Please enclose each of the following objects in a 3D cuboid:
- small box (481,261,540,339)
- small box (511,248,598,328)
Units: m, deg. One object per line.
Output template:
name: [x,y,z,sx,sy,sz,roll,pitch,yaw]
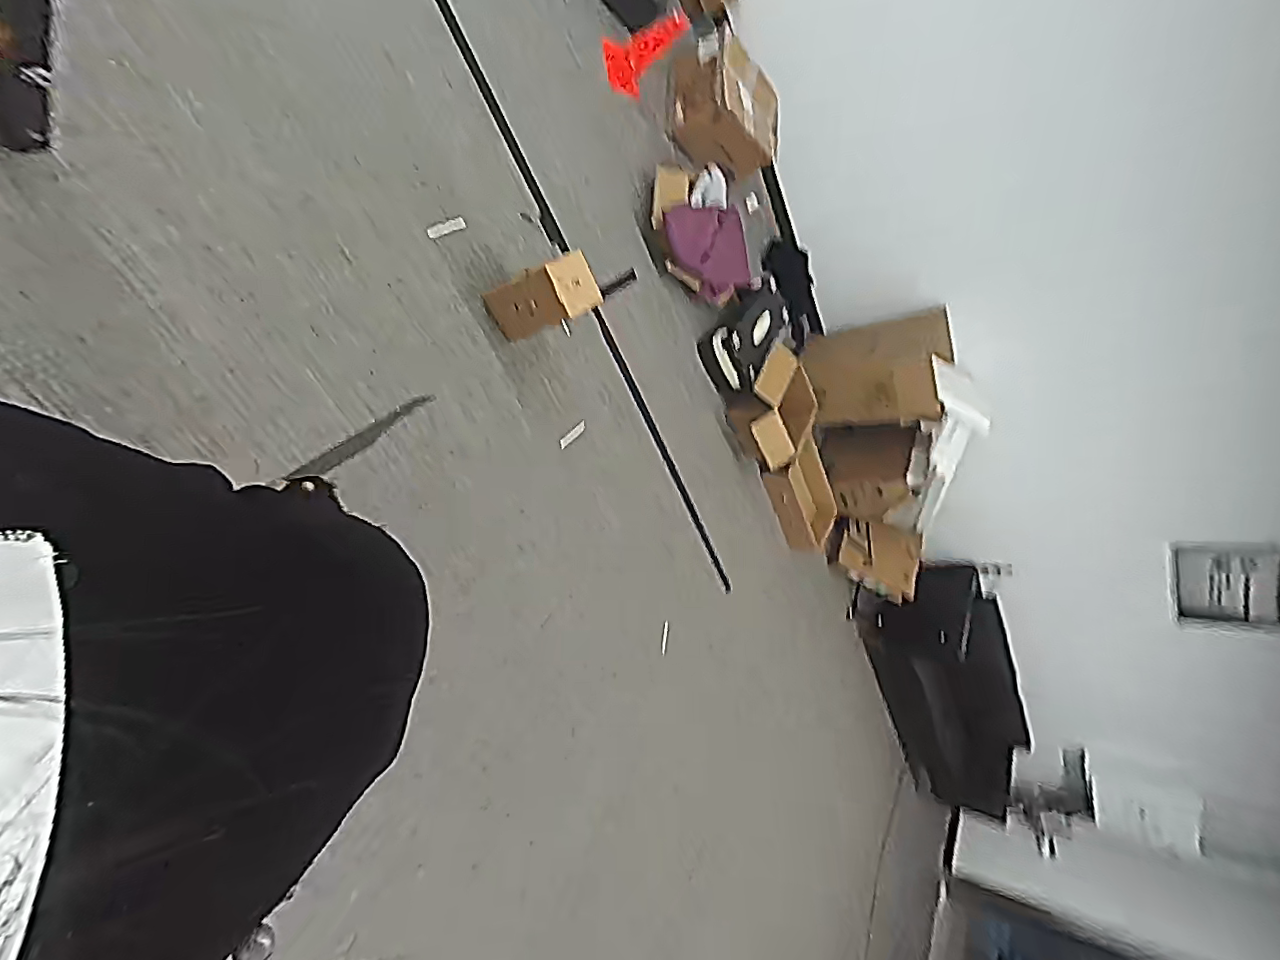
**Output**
small box: [-0.396,-0.599,1.809,0.168,0.176,0.179,-53,125,-37]
small box: [-0.269,-0.602,1.704,0.179,0.176,0.168,-49,122,-39]
